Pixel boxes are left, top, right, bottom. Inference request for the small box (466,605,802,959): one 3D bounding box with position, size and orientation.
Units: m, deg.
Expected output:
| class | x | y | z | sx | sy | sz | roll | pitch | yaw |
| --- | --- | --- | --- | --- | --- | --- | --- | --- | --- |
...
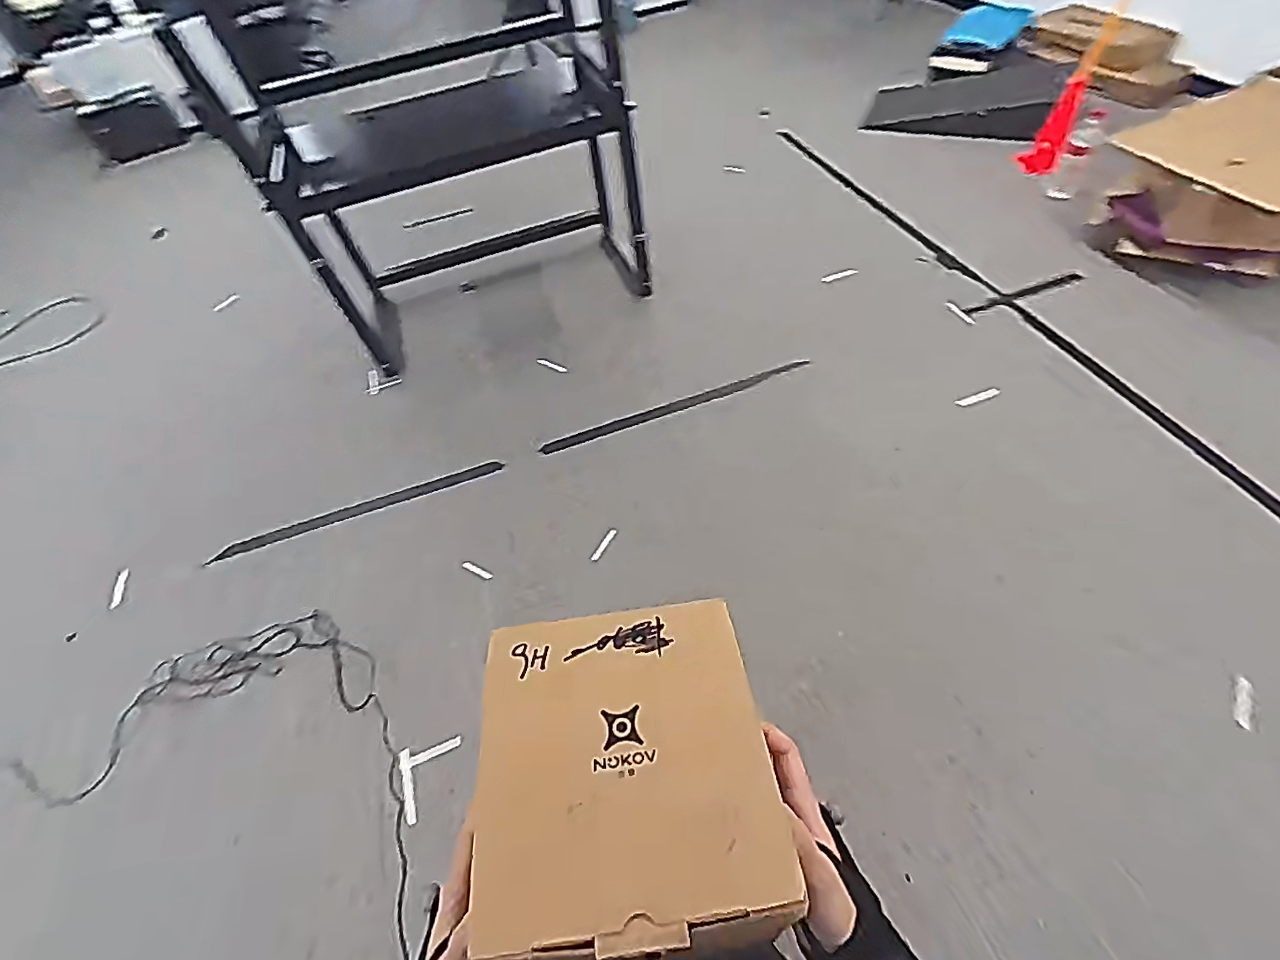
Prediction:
| class | x | y | z | sx | sy | sz | roll | pitch | yaw |
| --- | --- | --- | --- | --- | --- | --- | --- | --- | --- |
| small box | -0.007 | 0.213 | 0.367 | 0.168 | 0.176 | 0.179 | -8 | 45 | -4 |
